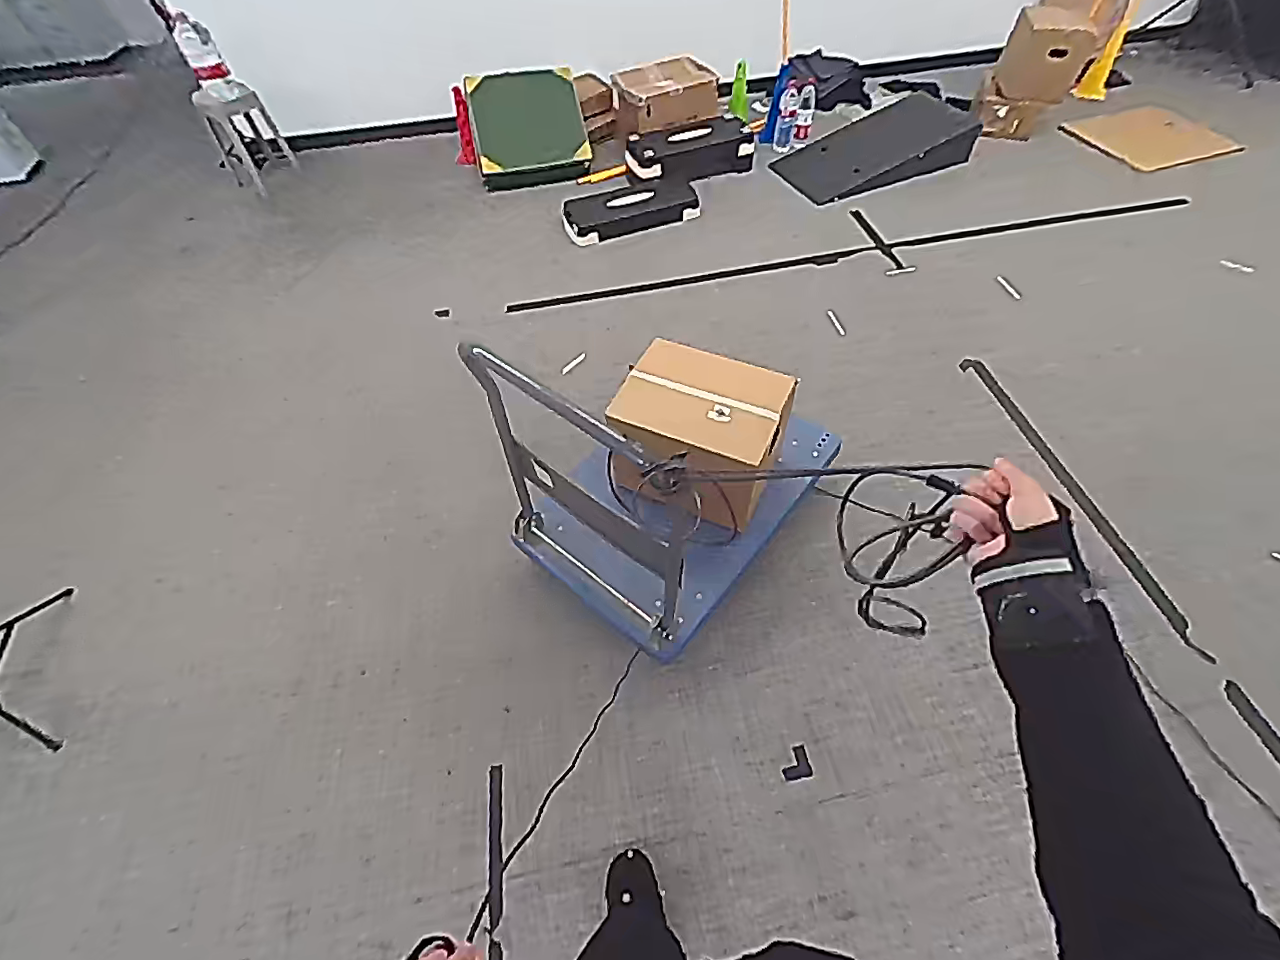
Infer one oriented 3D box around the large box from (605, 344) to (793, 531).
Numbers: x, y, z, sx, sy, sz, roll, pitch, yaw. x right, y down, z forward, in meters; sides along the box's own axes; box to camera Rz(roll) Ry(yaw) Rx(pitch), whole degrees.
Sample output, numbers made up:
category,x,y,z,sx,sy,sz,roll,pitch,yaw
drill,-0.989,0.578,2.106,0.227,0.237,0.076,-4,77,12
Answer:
category,x,y,z,sx,sy,sz,roll,pitch,yaw
large box,0.155,-0.116,1.479,0.408,0.320,0.320,20,59,16
